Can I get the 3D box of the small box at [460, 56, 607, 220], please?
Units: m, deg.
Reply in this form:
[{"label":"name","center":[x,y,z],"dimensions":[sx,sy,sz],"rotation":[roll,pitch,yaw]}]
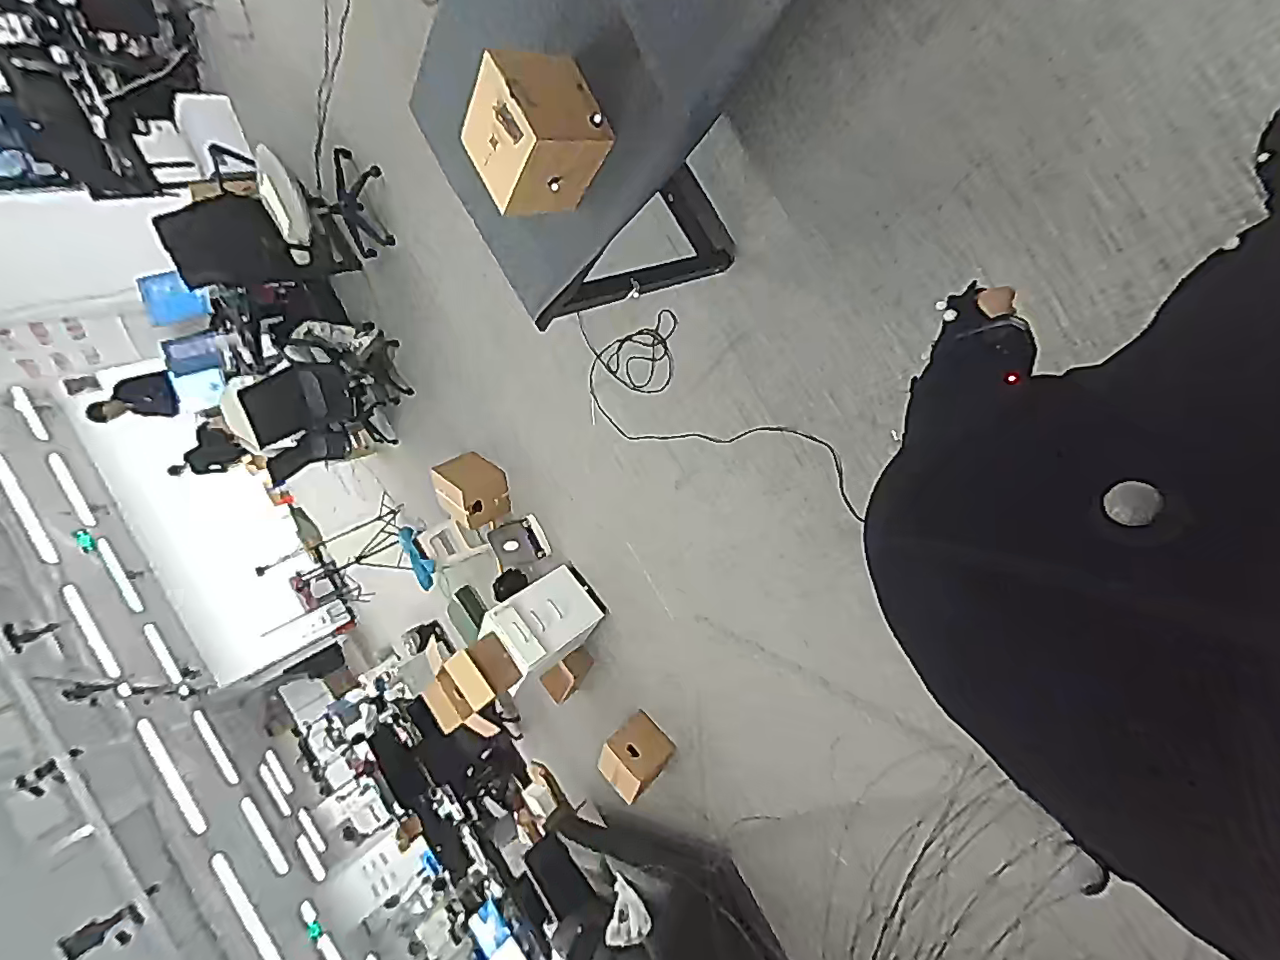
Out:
[{"label":"small box","center":[-0.182,-0.592,0.948],"dimensions":[0.179,0.176,0.168],"rotation":[-30,88,54]}]
